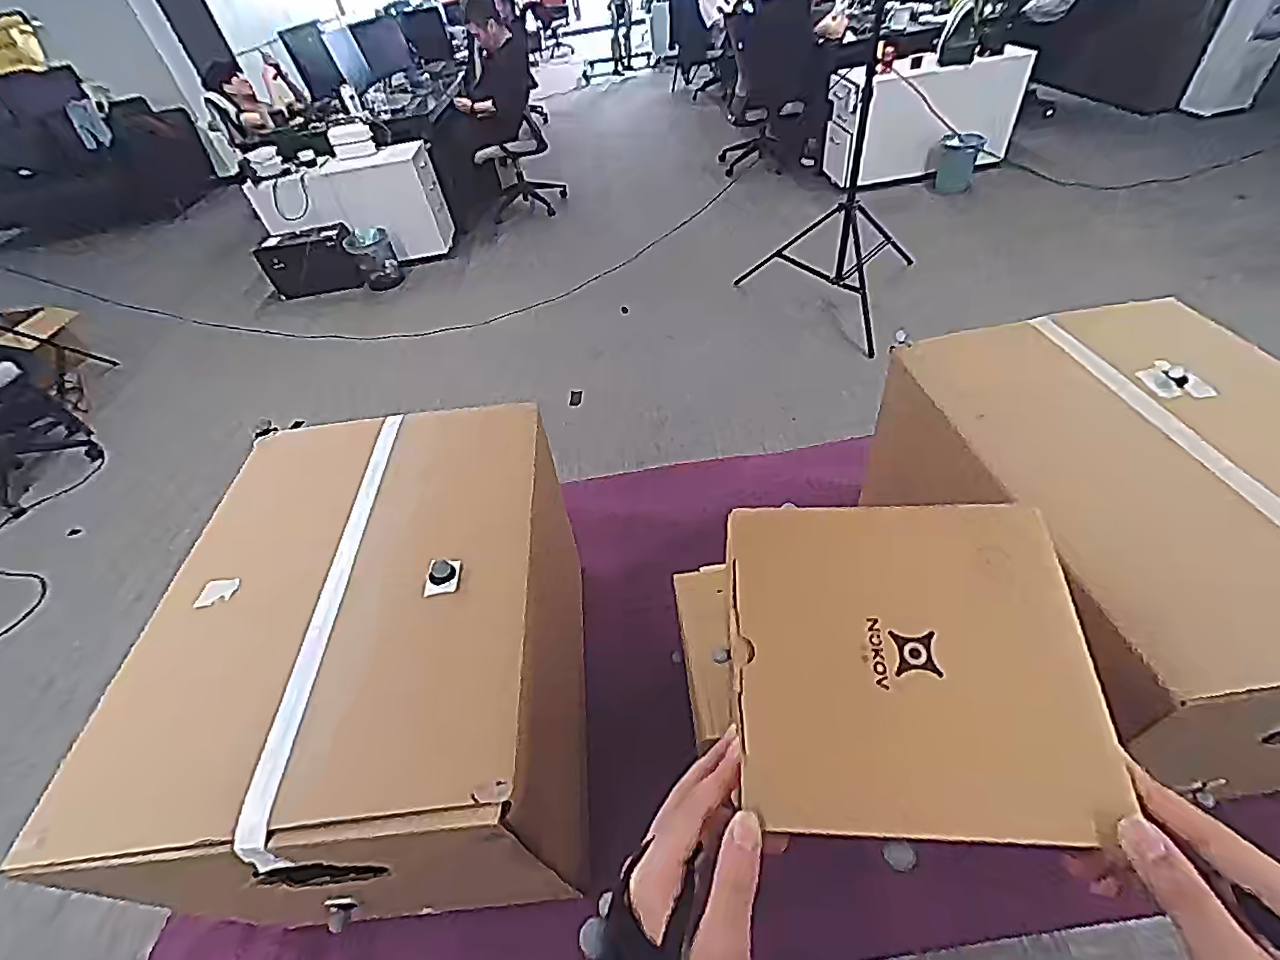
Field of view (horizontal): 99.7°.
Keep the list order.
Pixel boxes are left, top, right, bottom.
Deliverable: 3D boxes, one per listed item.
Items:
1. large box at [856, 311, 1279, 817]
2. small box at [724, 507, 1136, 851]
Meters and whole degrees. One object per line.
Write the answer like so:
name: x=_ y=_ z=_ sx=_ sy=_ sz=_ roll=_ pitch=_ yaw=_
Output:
large box: x=0.460 y=0.081 z=0.559 sx=0.320 sy=0.320 sz=0.408 roll=-9 pitch=44 yaw=1
small box: x=0.146 y=0.124 z=0.353 sx=0.179 sy=0.176 sz=0.168 roll=-2 pitch=63 yaw=8
